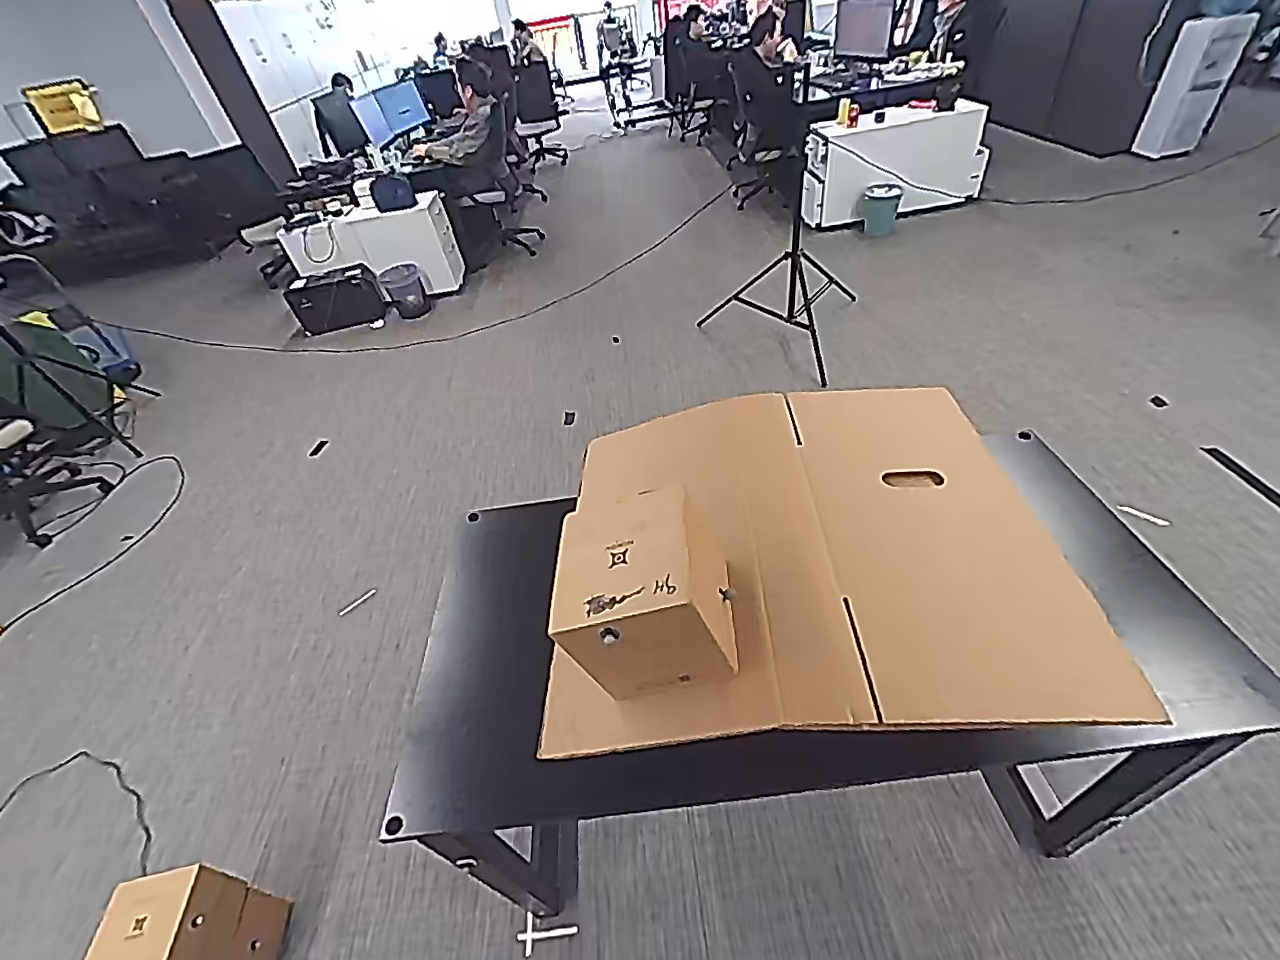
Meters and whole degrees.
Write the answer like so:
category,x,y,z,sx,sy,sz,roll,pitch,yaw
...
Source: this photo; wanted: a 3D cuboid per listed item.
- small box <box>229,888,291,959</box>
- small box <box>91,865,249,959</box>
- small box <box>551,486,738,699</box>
category,x,y,z,sx,sy,sz,roll,pitch,yaw
small box,-0.917,1.040,1.197,0.168,0.176,0.179,-11,43,0
small box,-0.942,0.918,1.092,0.168,0.176,0.179,-13,41,-3
small box,0.014,0.141,0.667,0.168,0.176,0.179,-17,39,17
